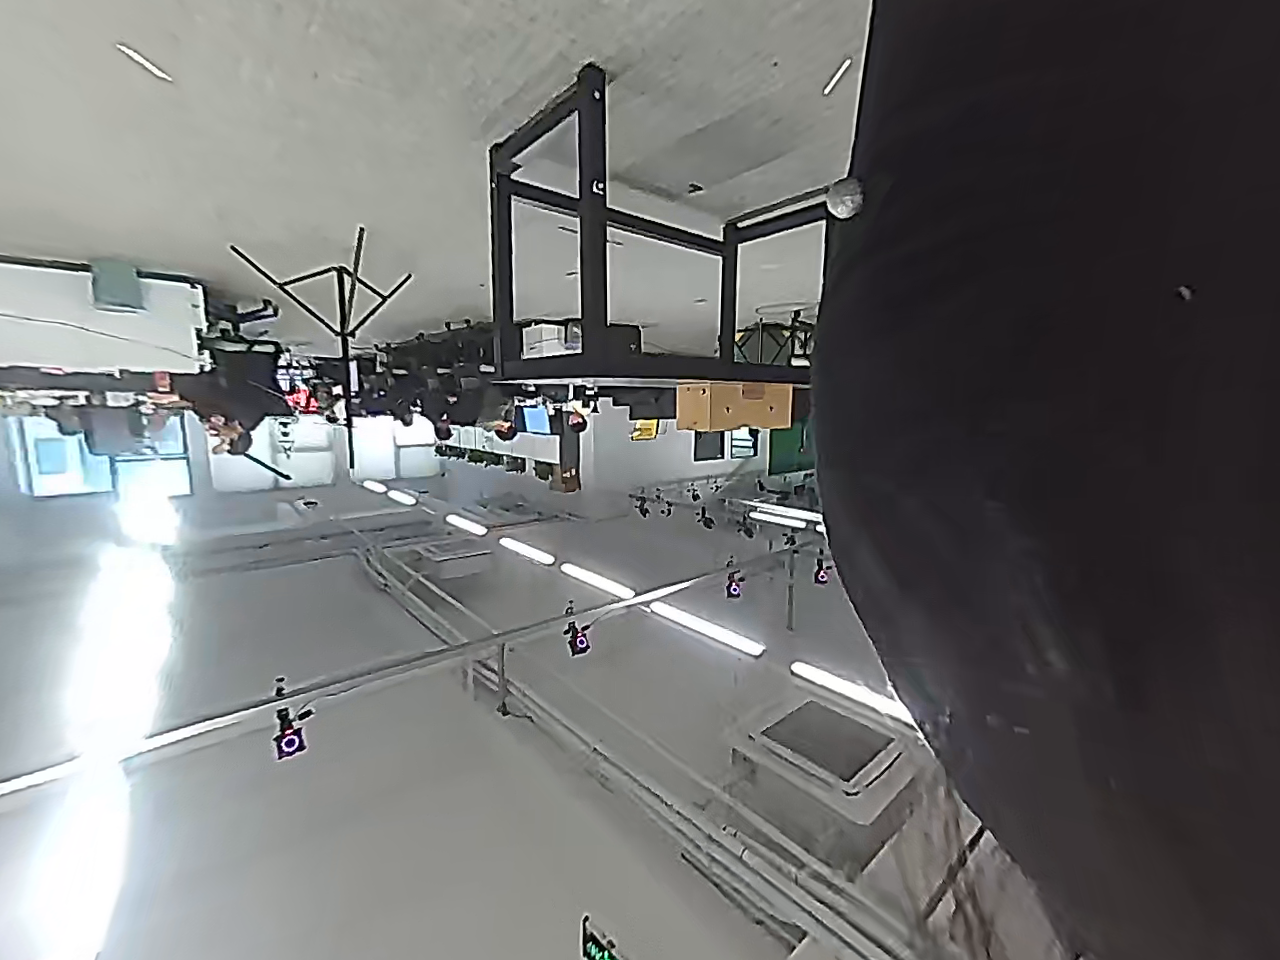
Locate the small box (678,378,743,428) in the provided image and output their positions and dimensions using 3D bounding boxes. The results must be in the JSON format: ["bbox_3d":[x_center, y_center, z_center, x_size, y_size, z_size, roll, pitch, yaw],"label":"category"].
[{"bbox_3d":[0.254,-0.279,1.953,0.179,0.176,0.168,-8,-167,-40],"label":"small box"}]

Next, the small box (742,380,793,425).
[{"bbox_3d":[0.485,-0.306,2.135,0.179,0.176,0.168,-7,-168,-37],"label":"small box"}]
